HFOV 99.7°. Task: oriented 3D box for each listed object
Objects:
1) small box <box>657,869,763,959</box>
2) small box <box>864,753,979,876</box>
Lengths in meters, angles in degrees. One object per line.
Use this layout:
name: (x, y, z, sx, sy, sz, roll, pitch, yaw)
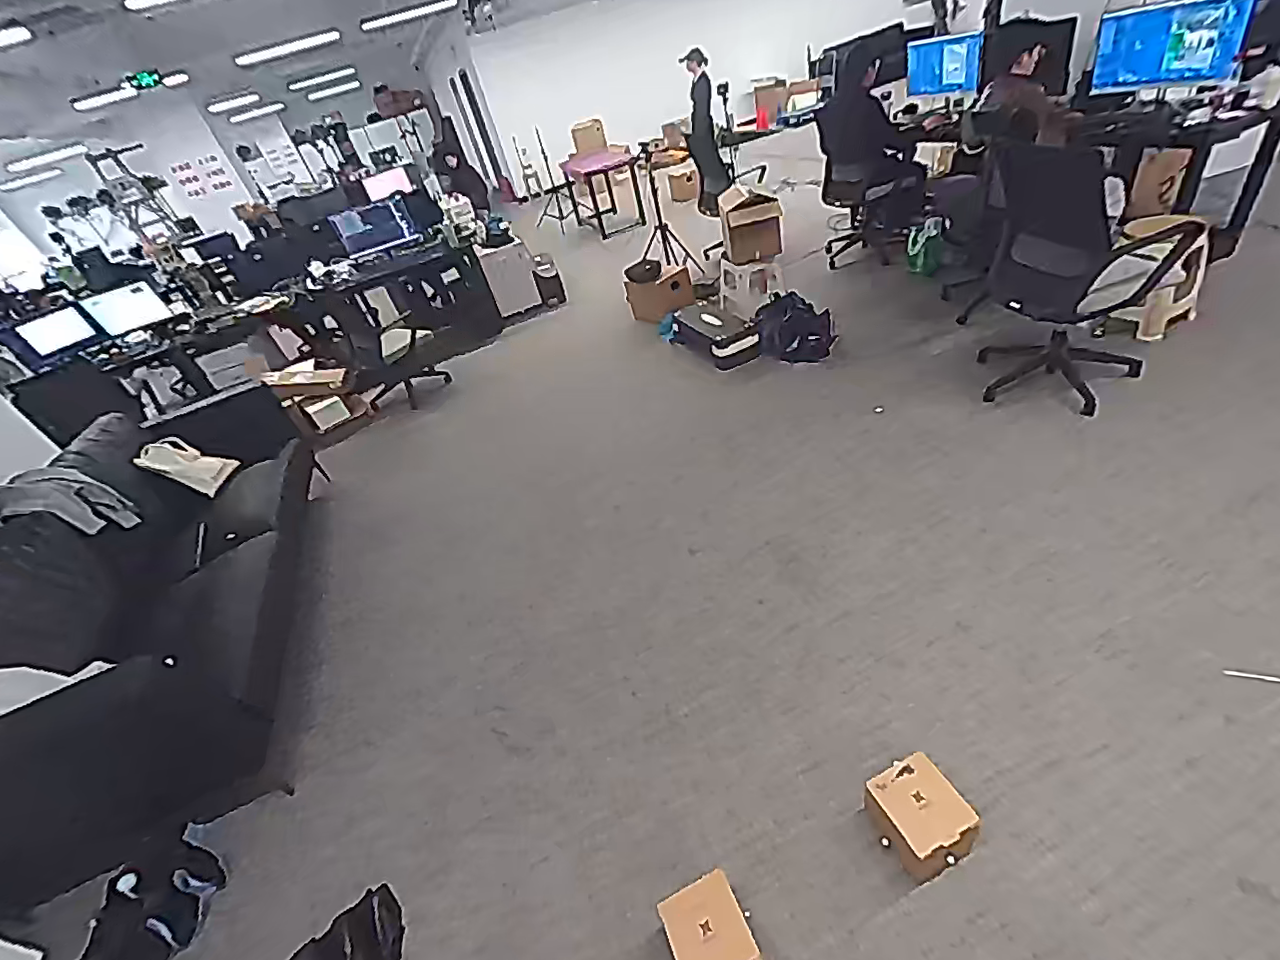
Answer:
small box: (0.160, 1.013, 1.186, 0.168, 0.176, 0.179, -24, 35, -11)
small box: (0.653, 0.793, 1.272, 0.168, 0.176, 0.179, -24, 37, -9)
